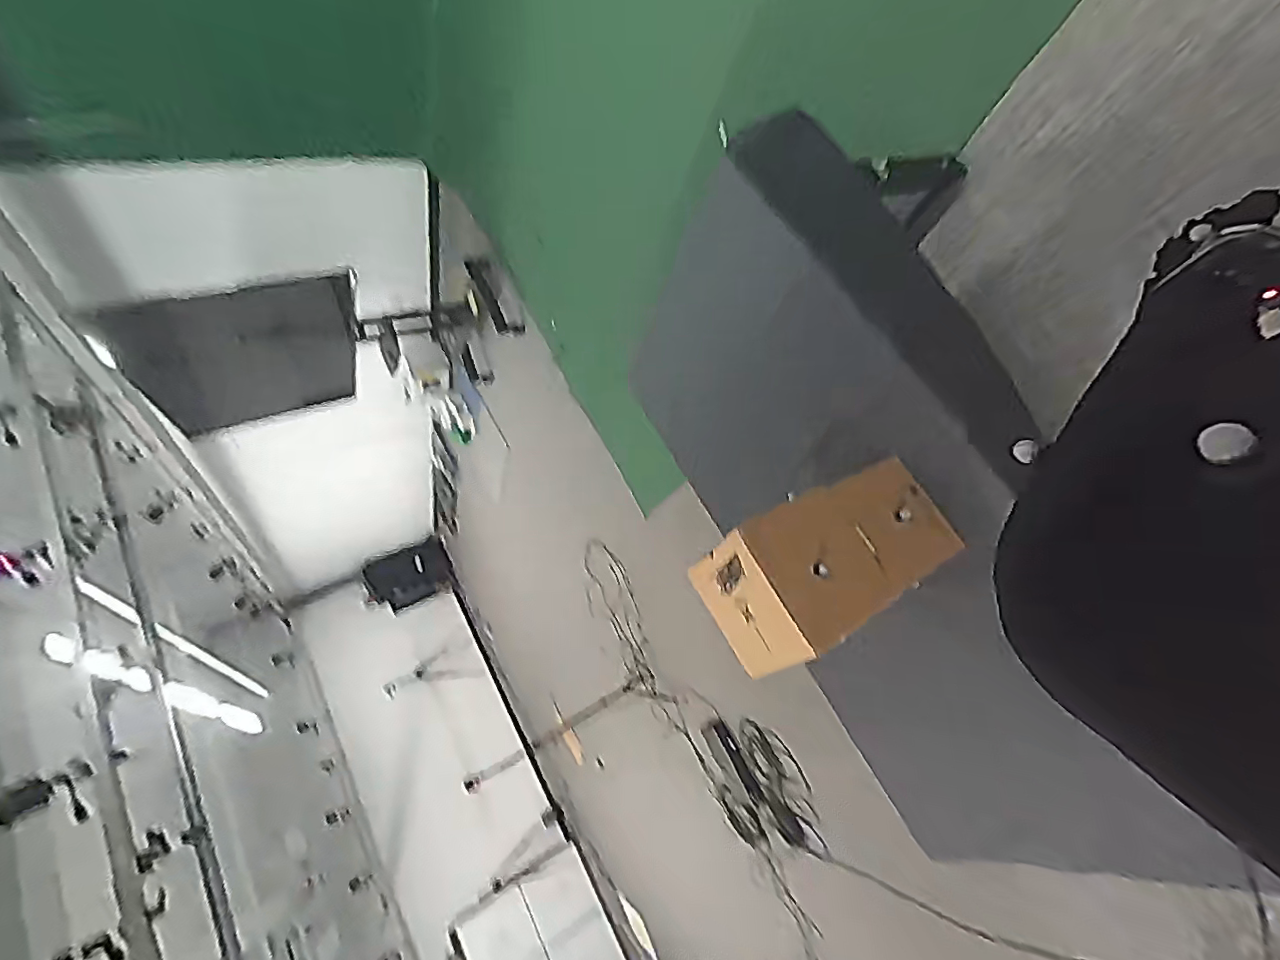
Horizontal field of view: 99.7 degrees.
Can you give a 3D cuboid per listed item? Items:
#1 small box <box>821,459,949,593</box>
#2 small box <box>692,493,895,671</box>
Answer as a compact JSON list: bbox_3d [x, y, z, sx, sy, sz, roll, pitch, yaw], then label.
[{"bbox_3d":[0.344,0.091,0.844,0.168,0.176,0.179,59,150,17],"label":"small box"},{"bbox_3d":[0.209,0.136,0.761,0.179,0.176,0.168,59,150,20],"label":"small box"}]
